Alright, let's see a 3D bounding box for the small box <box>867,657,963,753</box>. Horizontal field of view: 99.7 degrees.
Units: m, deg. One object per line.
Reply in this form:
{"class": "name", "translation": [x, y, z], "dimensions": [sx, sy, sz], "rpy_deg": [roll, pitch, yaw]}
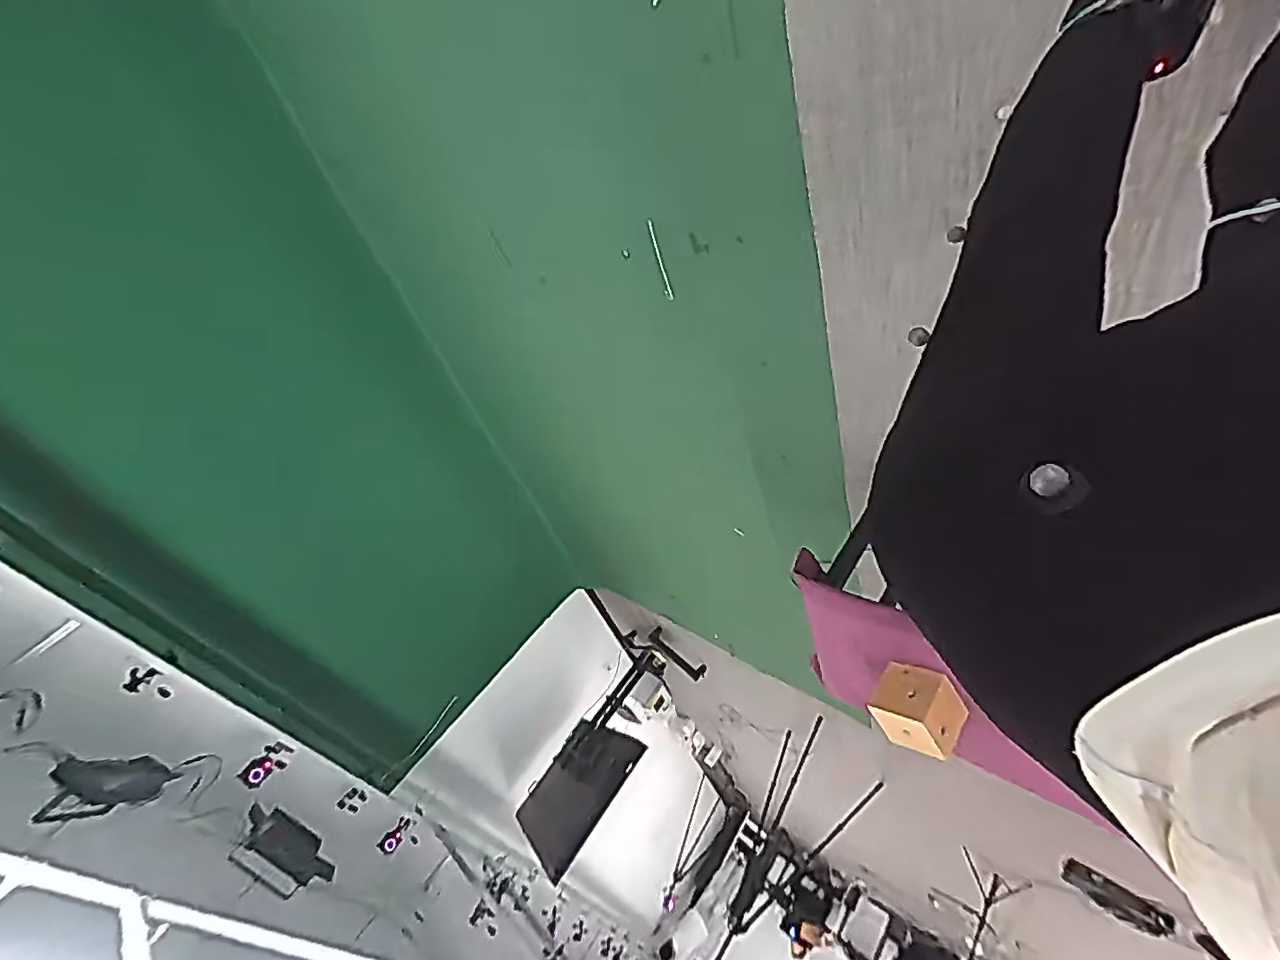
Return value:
{"class": "small box", "translation": [0.791, 0.636, 1.549], "dimensions": [0.179, 0.176, 0.168], "rpy_deg": [52, 151, -20]}
